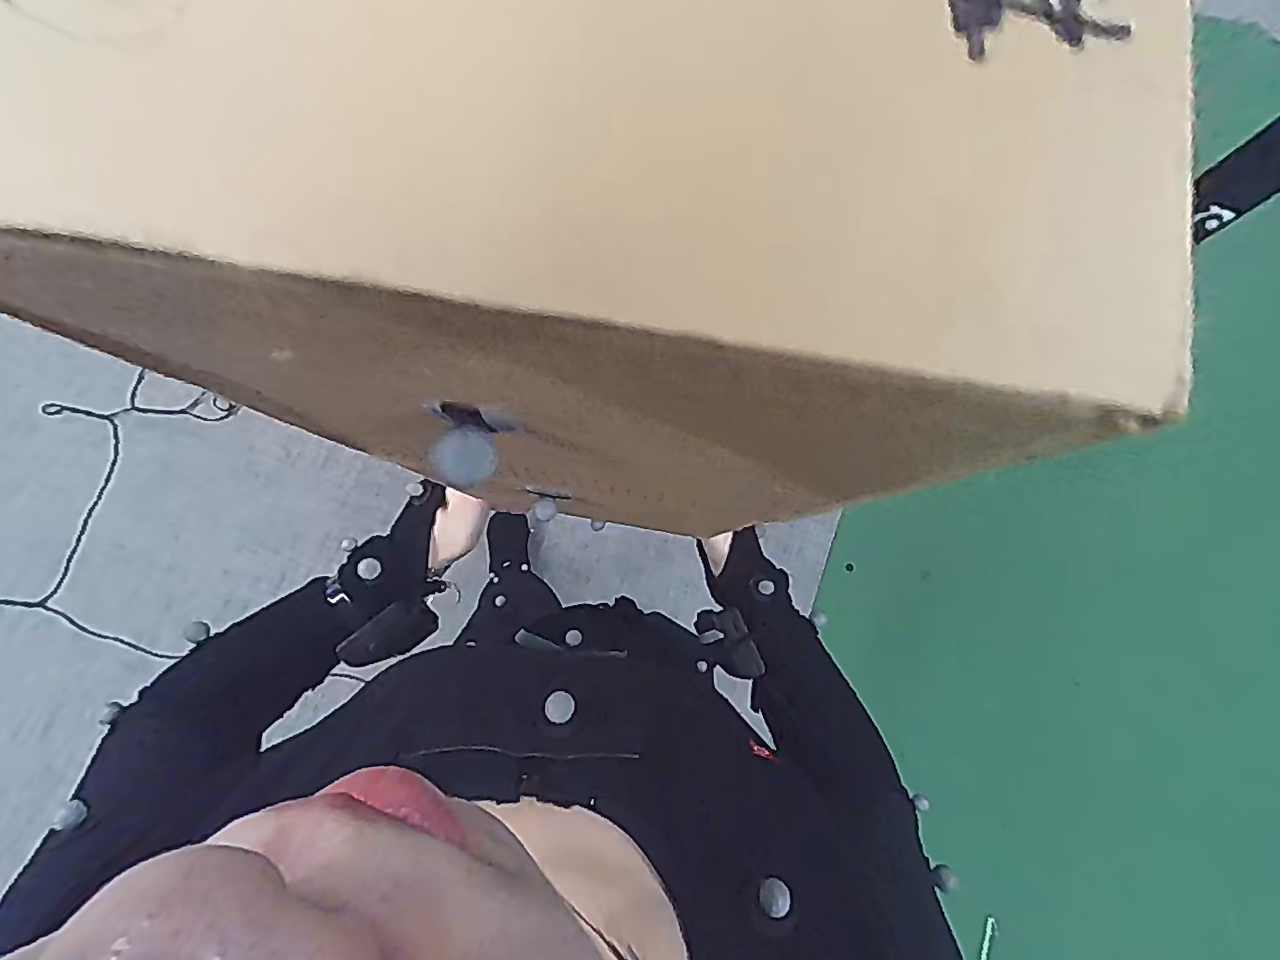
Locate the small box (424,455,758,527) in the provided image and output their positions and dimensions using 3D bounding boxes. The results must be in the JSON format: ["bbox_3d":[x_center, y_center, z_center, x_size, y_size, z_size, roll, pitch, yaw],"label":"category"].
[{"bbox_3d":[-0.021,-0.068,0.322,0.179,0.176,0.168,10,81,0],"label":"small box"}]

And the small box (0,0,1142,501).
[{"bbox_3d":[-0.013,-0.091,0.159,0.179,0.176,0.168,9,82,1],"label":"small box"}]
